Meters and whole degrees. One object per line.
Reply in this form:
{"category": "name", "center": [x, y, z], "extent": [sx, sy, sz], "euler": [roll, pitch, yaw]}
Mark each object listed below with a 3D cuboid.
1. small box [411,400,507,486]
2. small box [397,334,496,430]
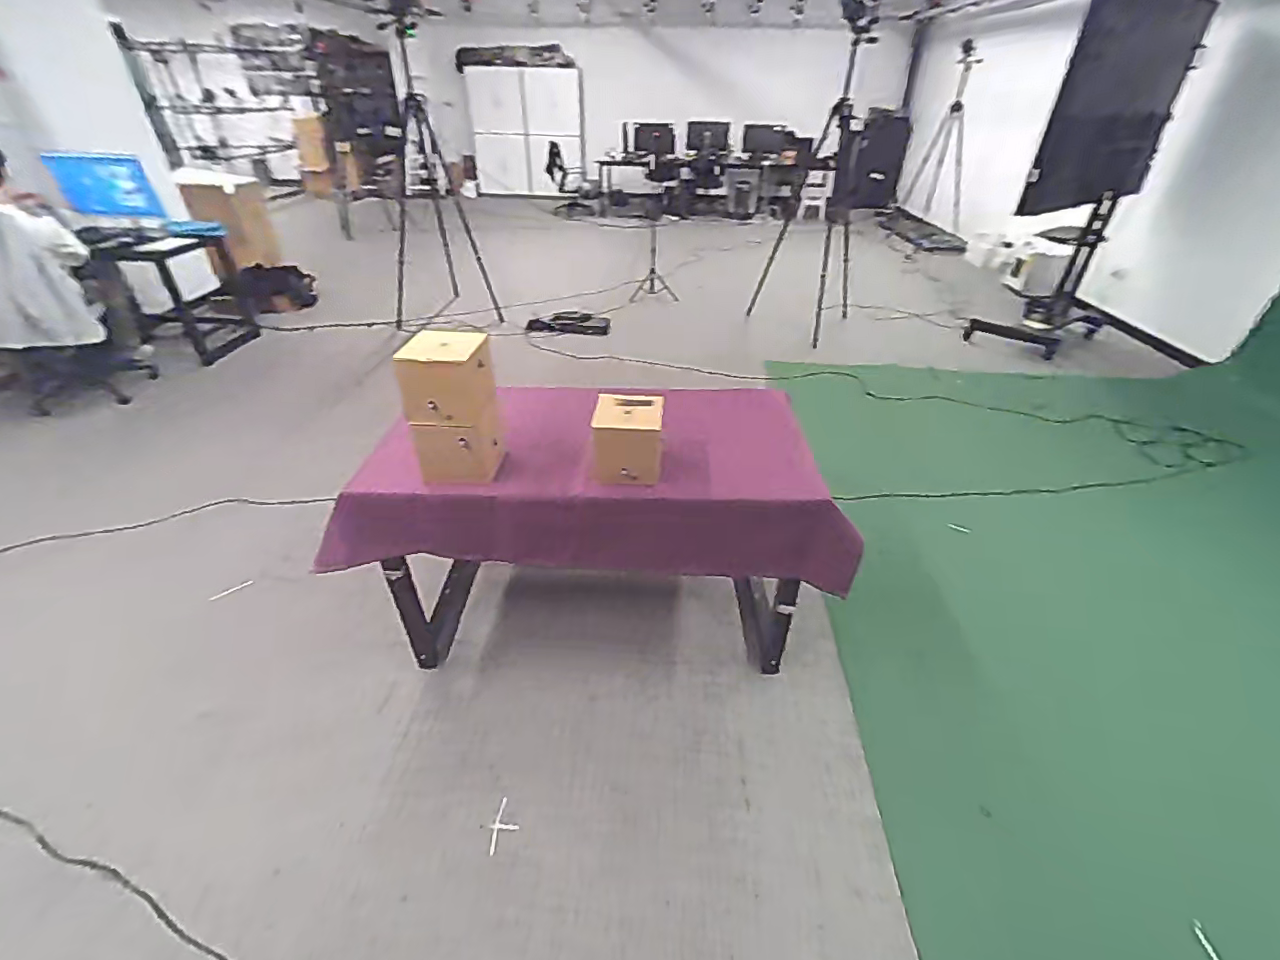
{"category": "small box", "center": [-0.452, -0.098, 1.387], "extent": [0.179, 0.176, 0.168], "euler": [2, 34, 3]}
{"category": "small box", "center": [-0.453, -0.237, 1.301], "extent": [0.168, 0.176, 0.179], "euler": [3, 36, 3]}
